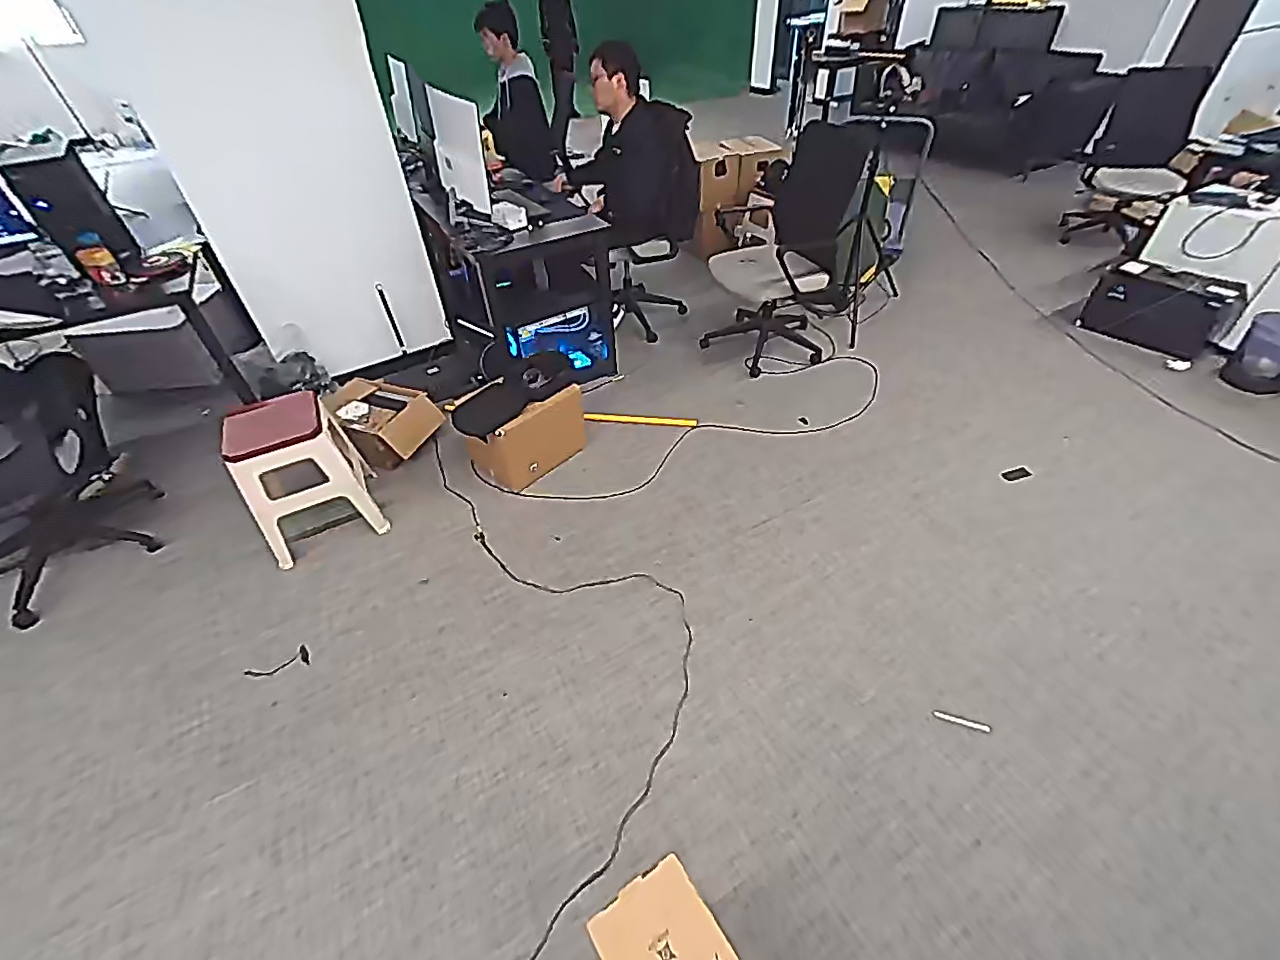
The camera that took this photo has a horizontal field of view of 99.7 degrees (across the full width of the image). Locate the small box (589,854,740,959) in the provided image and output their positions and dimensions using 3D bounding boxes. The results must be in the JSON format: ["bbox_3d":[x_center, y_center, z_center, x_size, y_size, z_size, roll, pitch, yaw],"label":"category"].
[{"bbox_3d":[0.037,0.734,0.835,0.168,0.176,0.179,-26,48,-23],"label":"small box"}]
